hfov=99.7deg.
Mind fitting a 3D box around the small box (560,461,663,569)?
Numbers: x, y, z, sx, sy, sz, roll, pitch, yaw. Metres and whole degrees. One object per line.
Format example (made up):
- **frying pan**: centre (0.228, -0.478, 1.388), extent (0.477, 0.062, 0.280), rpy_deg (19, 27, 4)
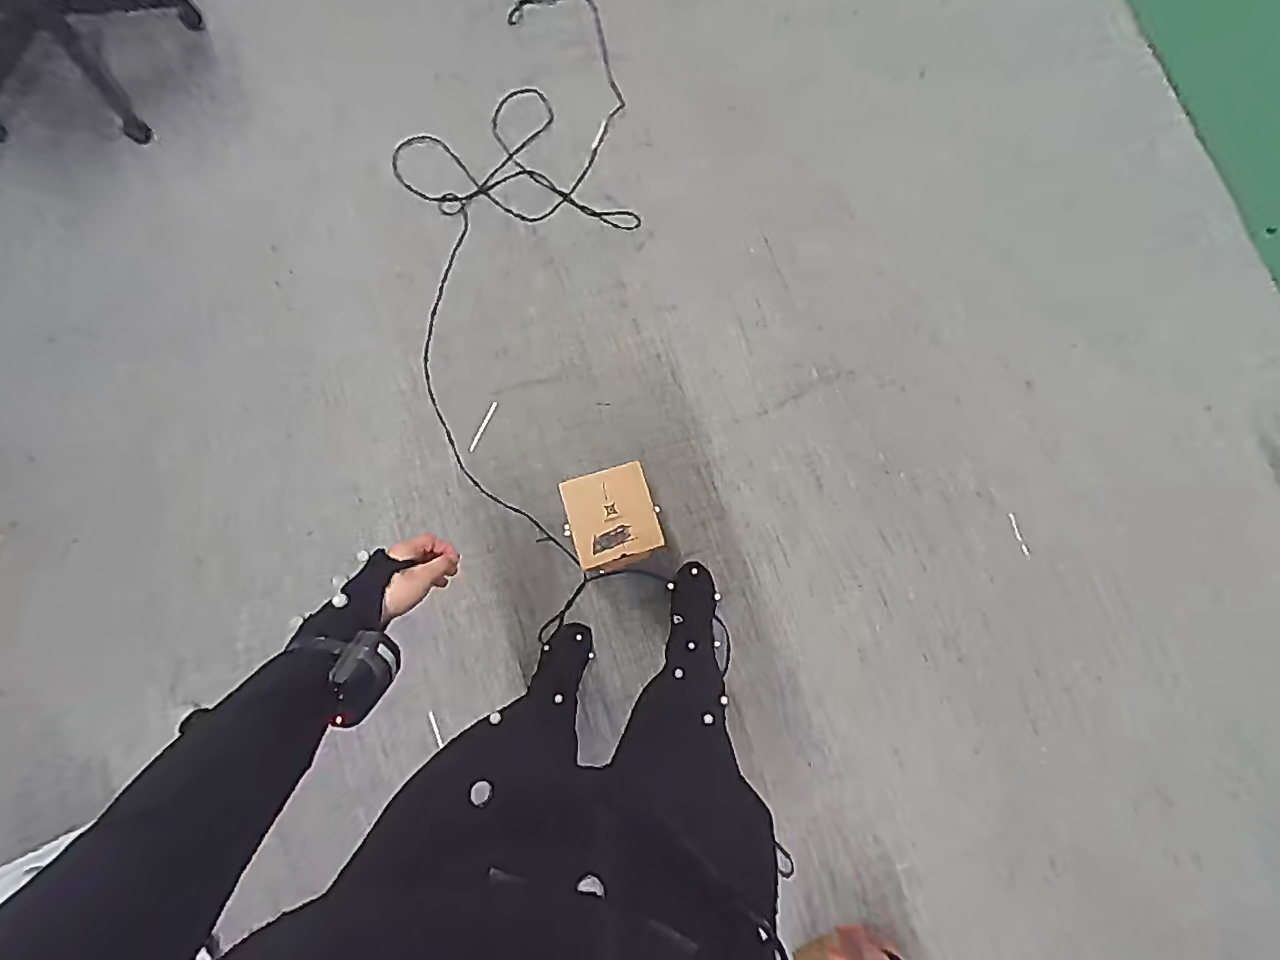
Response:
- **small box**: centre (-0.056, 0.076, 1.110), extent (0.168, 0.176, 0.179), rpy_deg (-16, 81, -5)
